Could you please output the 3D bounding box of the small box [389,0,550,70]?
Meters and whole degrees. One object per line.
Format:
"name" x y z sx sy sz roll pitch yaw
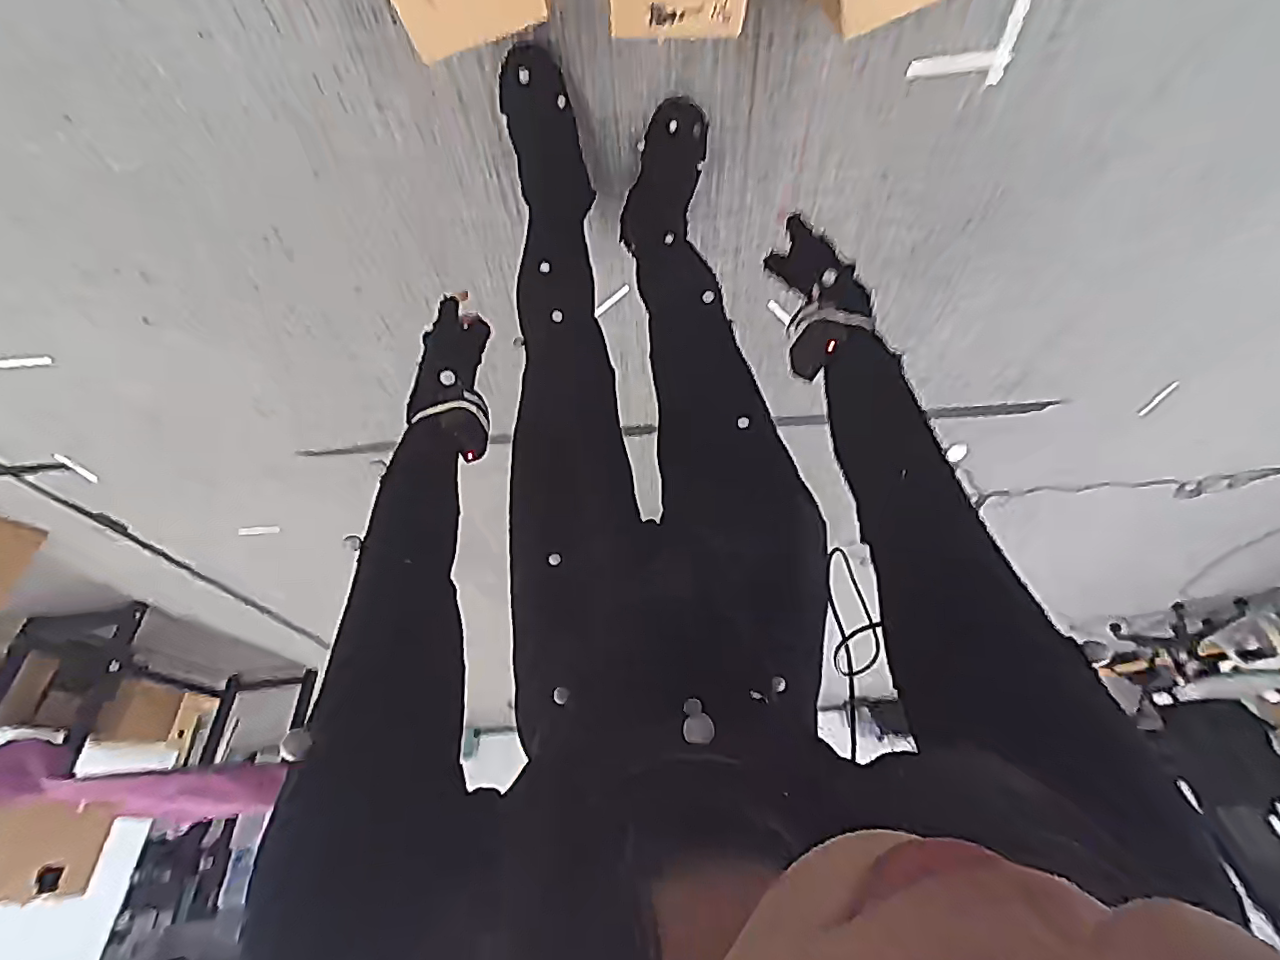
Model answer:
"small box" -0.219 -0.651 0.659 0.179 0.176 0.168 -11 144 12

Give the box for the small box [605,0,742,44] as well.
"small box" 0.038 -0.667 0.660 0.168 0.176 0.179 -2 145 -3

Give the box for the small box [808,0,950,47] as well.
"small box" 0.299 -0.684 0.659 0.179 0.176 0.168 -15 144 15
